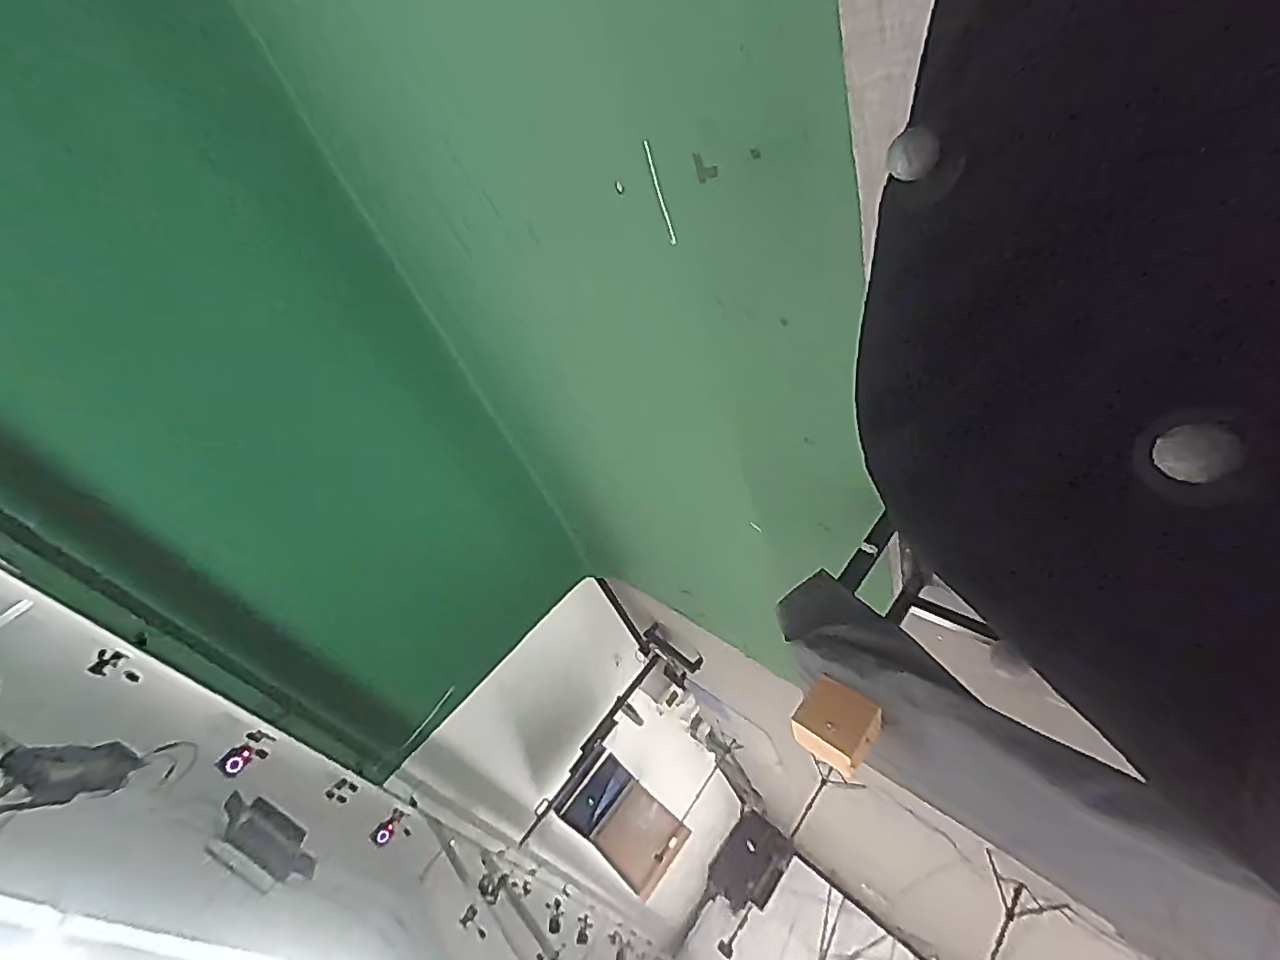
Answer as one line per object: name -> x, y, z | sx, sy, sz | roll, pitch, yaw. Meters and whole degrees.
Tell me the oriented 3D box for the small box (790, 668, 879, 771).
small box -> 0.544, 0.660, 1.504 | 0.179, 0.176, 0.168 | 26, 149, 39
